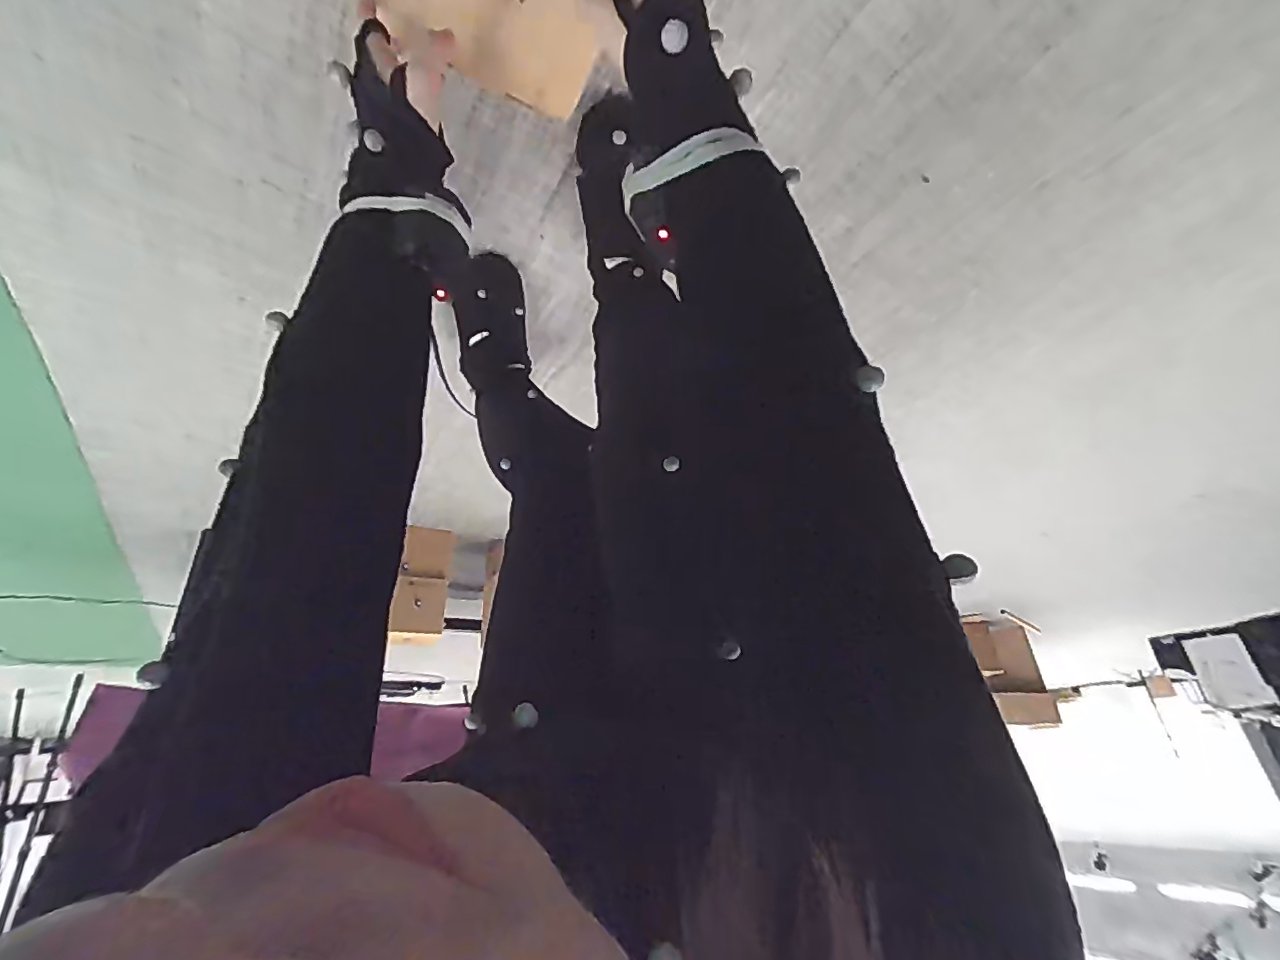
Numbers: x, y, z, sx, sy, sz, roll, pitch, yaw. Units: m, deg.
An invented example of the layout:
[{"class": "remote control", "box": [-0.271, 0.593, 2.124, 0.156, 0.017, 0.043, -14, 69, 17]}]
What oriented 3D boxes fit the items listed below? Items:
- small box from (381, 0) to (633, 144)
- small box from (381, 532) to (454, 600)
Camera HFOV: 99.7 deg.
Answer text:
[{"class": "small box", "box": [-0.102, -0.442, 0.452, 0.168, 0.176, 0.179, 12, 147, -29]}, {"class": "small box", "box": [-0.706, 0.275, 1.725, 0.179, 0.176, 0.168, 14, 147, -29]}]
